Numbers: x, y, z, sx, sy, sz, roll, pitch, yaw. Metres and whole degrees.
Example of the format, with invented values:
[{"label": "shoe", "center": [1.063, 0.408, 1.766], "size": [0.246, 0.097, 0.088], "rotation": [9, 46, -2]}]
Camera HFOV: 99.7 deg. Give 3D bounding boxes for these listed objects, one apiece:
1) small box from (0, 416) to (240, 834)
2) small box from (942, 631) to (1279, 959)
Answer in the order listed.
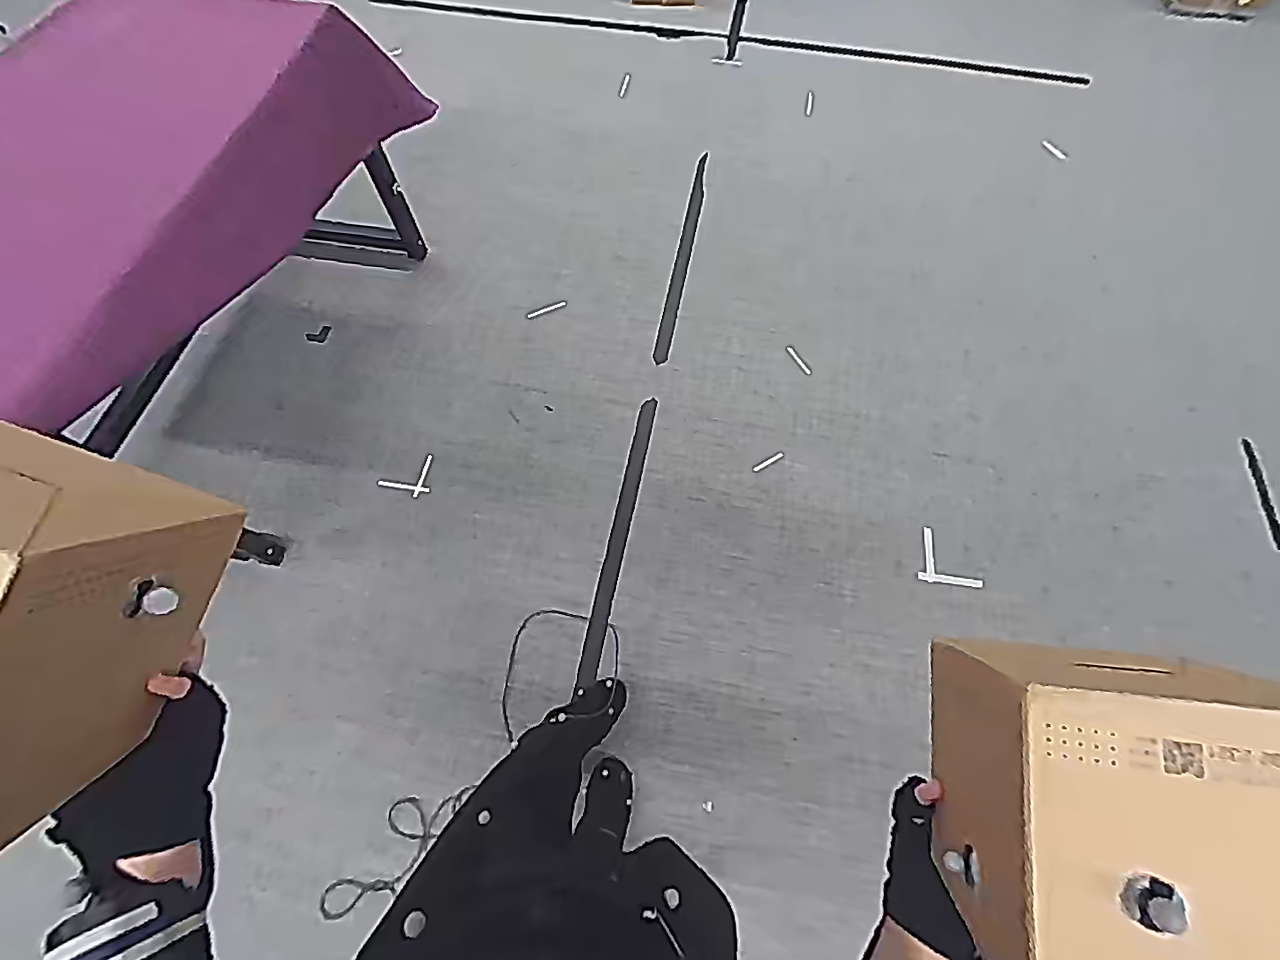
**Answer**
[{"label": "small box", "center": [-0.344, 0.059, 0.255], "size": [0.168, 0.179, 0.176], "rotation": [24, 86, -12]}, {"label": "small box", "center": [0.282, 0.183, 0.304], "size": [0.168, 0.179, 0.176], "rotation": [3, 83, 15]}]
